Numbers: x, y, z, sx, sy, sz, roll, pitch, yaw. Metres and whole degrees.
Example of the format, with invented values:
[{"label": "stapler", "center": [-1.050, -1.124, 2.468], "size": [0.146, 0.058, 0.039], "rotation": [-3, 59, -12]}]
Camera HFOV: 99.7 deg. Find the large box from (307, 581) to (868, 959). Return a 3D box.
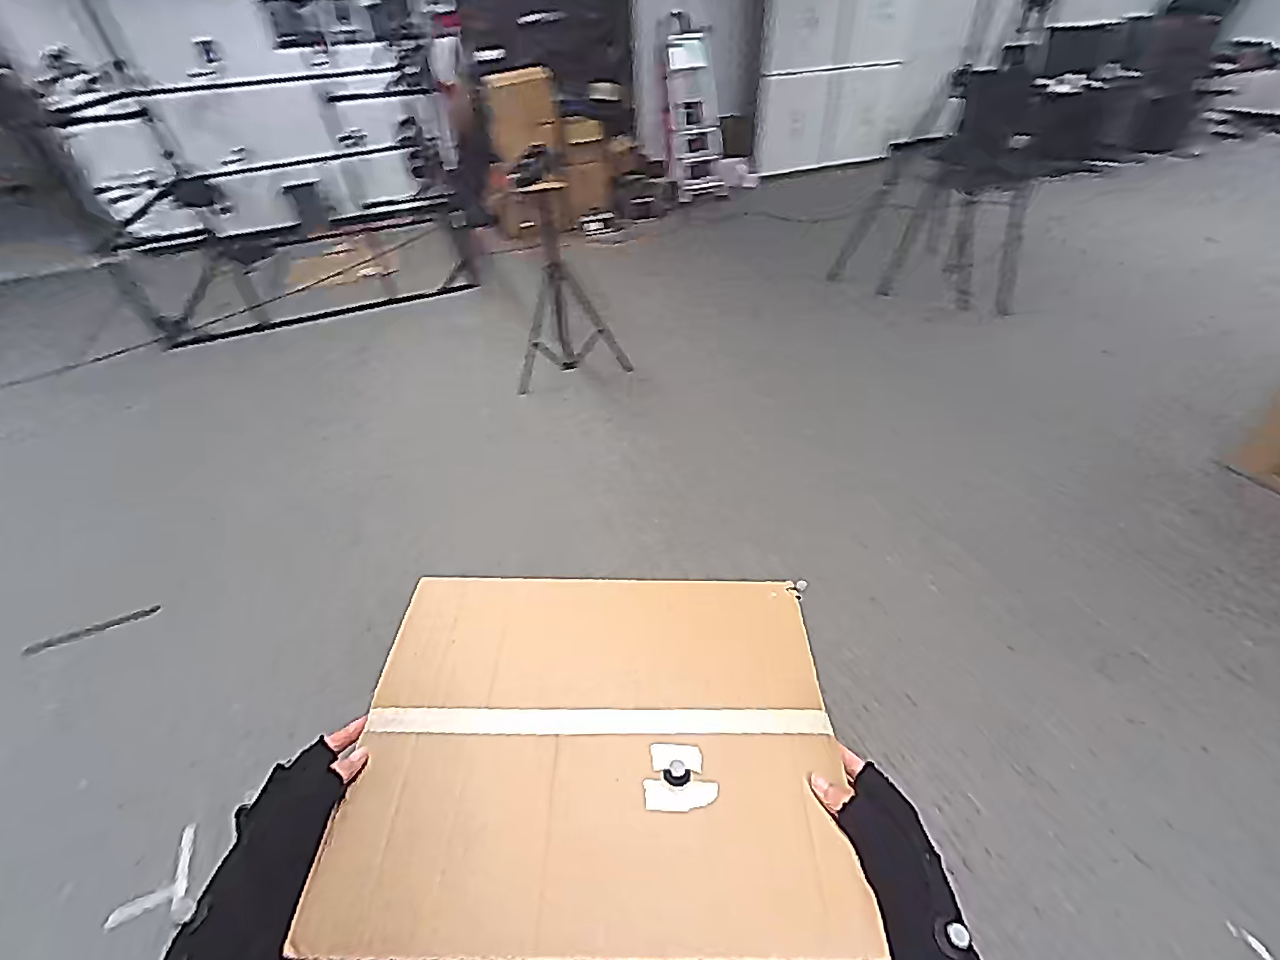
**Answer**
[{"label": "large box", "center": [-0.042, 0.326, 0.585], "size": [0.408, 0.320, 0.320], "rotation": [1, 42, -2]}]
